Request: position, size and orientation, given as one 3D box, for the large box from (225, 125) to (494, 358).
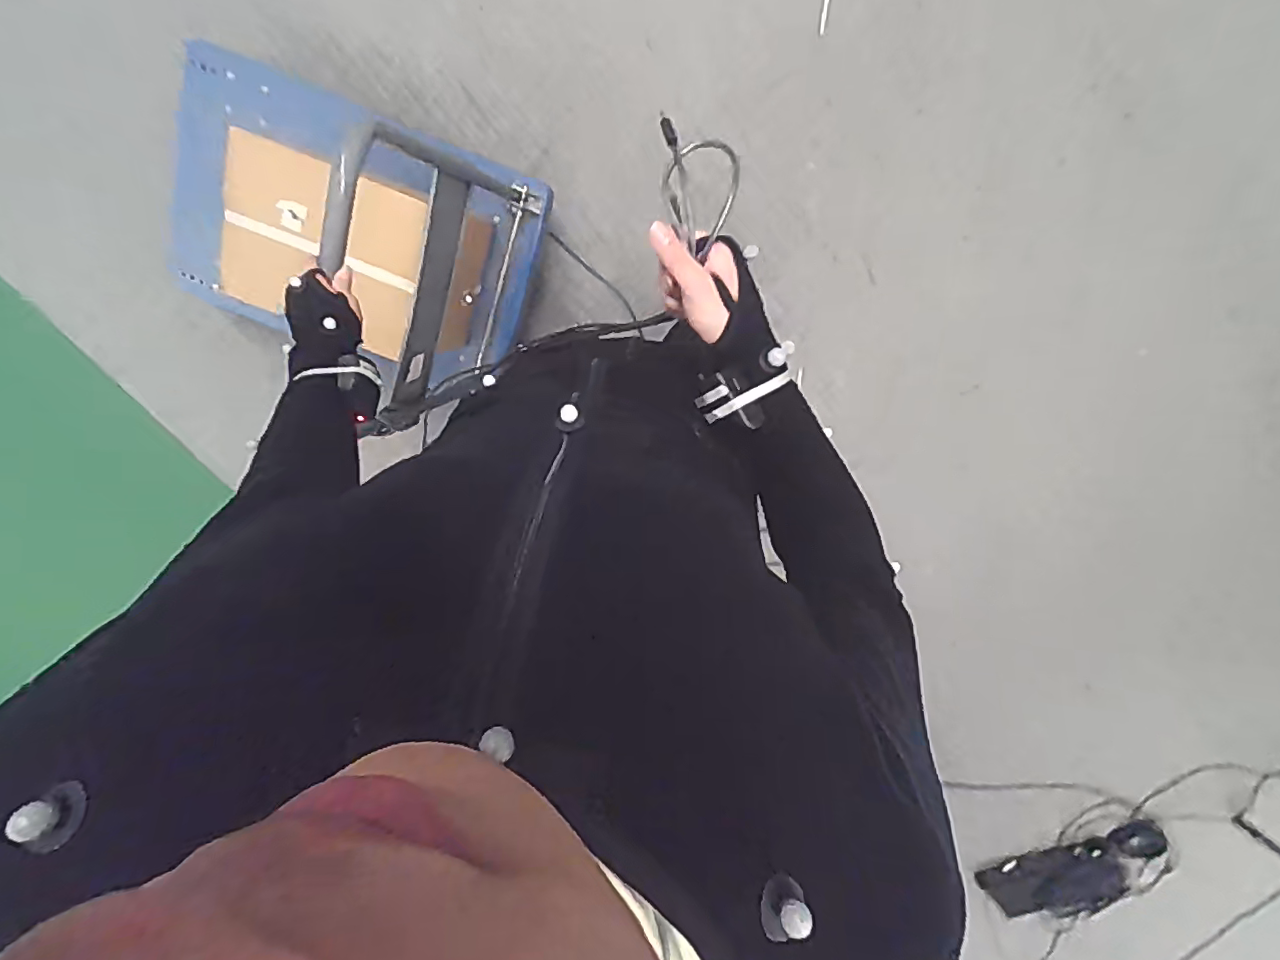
[{"bbox_3d":[-0.588,-0.502,1.180,0.408,0.320,0.320,22,112,-2],"label":"large box"}]
